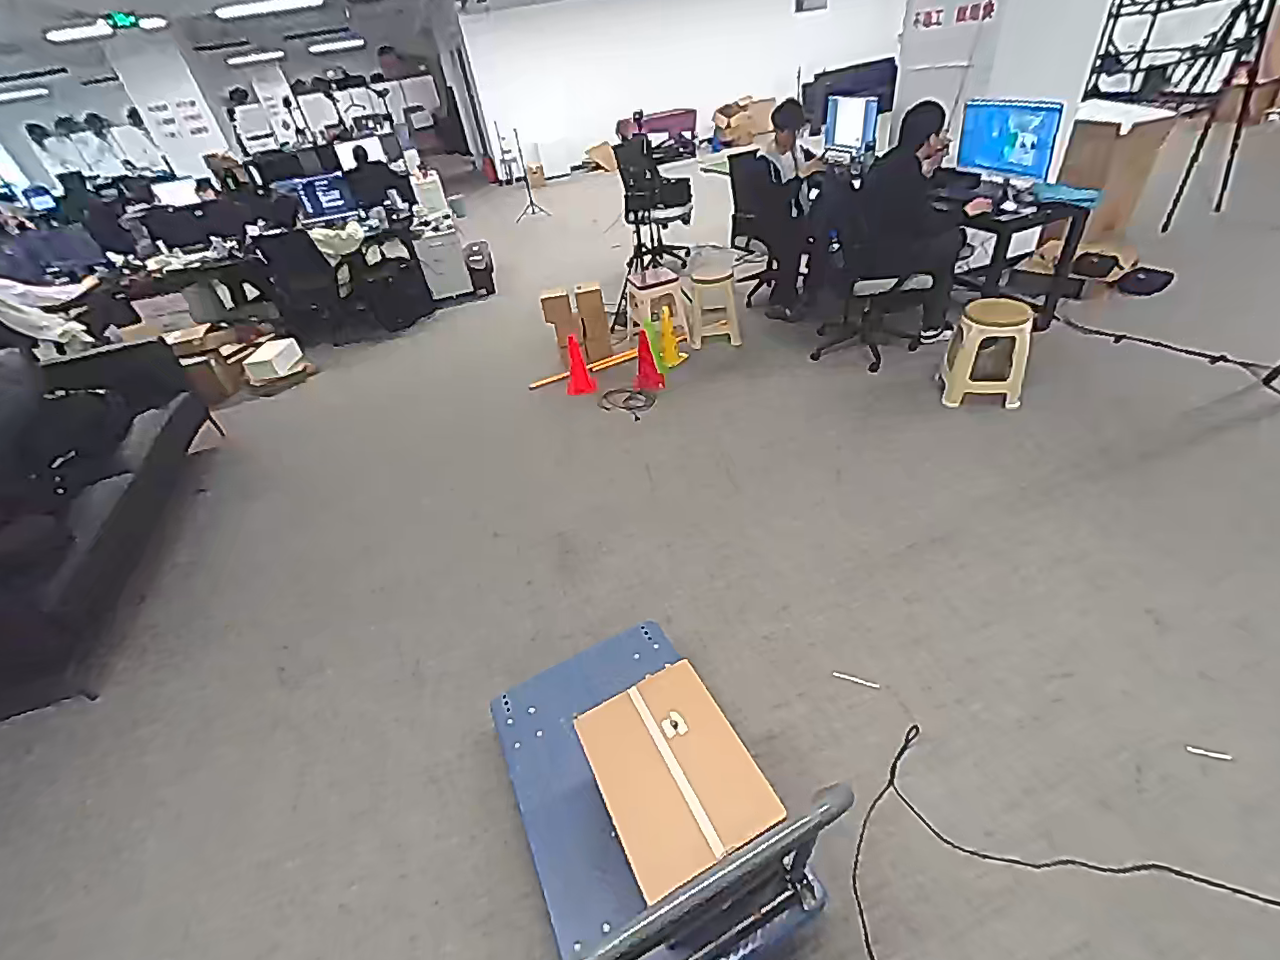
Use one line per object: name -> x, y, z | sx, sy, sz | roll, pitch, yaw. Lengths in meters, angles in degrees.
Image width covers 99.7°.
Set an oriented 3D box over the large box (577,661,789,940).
large box -> 0.097, 0.723, 1.255 | 0.320, 0.320, 0.408 | -23, 40, -16
